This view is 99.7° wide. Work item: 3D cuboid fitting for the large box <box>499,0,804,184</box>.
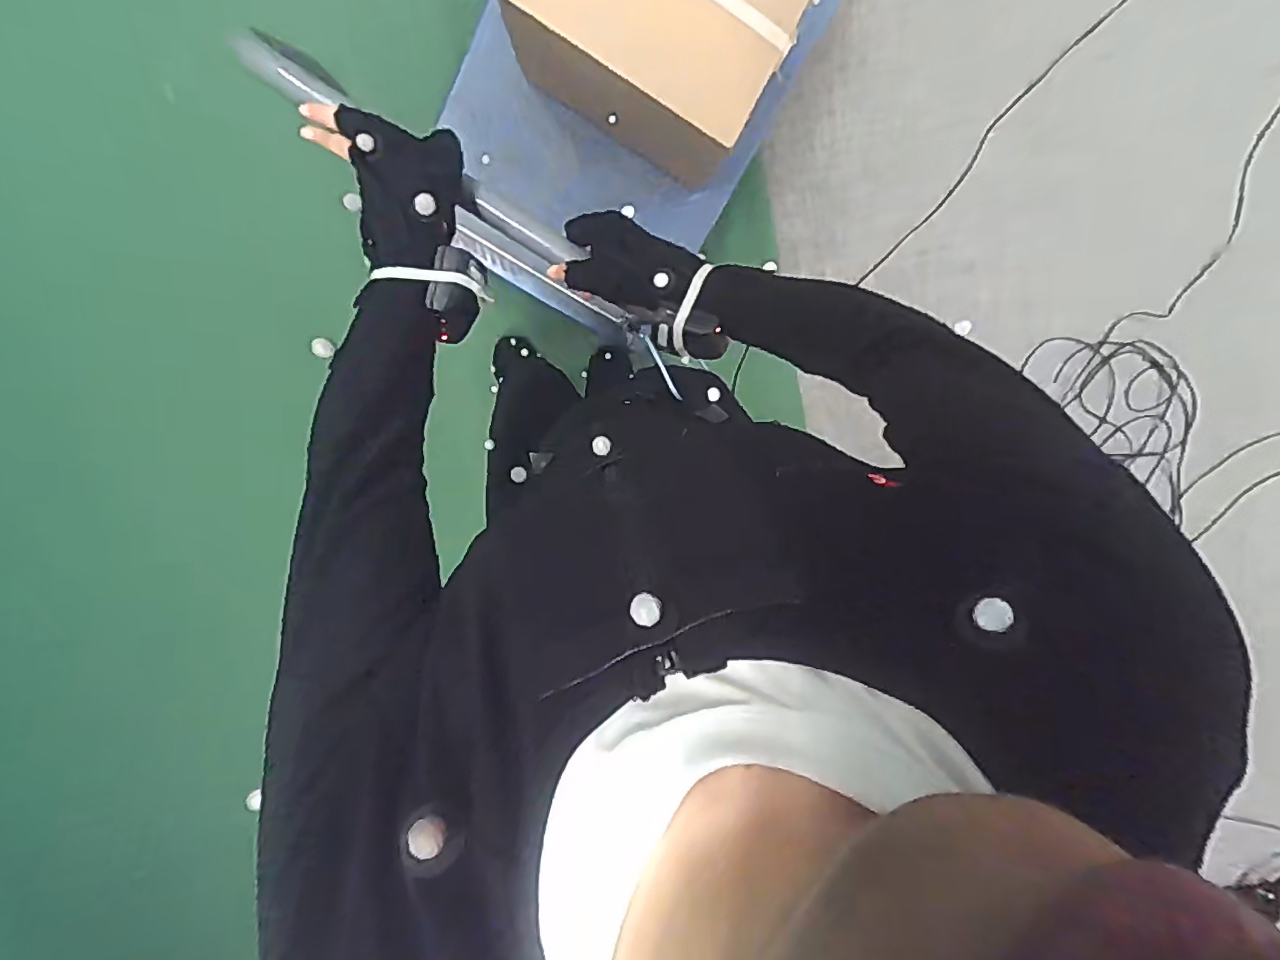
[{"bbox_3d":[0.030,-0.784,0.923,0.408,0.320,0.320,27,103,-11],"label":"large box"}]
